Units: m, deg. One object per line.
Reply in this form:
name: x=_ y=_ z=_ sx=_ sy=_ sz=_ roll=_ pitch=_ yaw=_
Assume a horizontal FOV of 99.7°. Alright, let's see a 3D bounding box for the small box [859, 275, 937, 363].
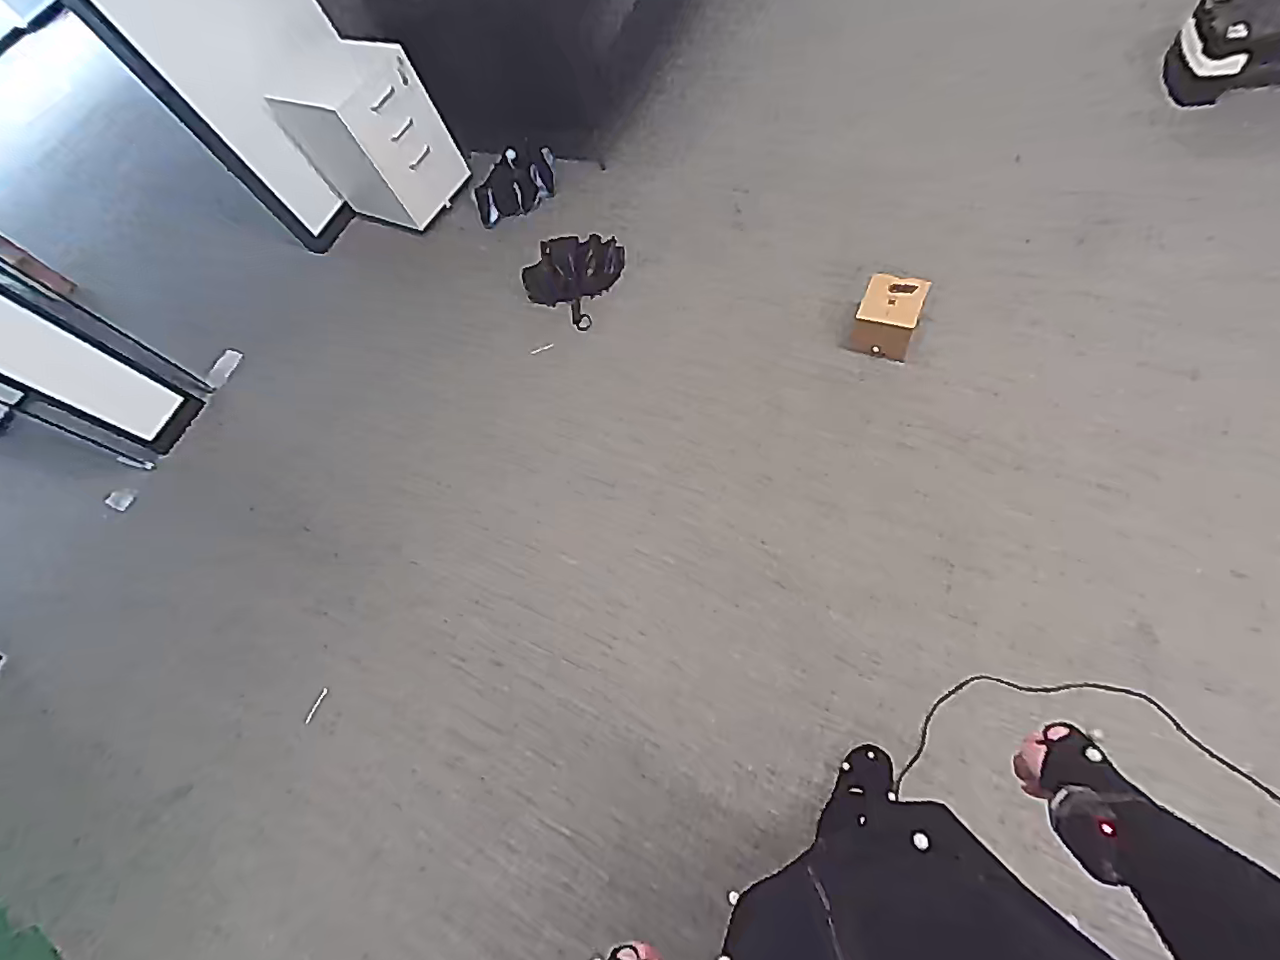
small box: x=0.778 y=-0.490 z=1.648 sx=0.168 sy=0.176 sz=0.179 roll=19 pitch=72 yaw=24
